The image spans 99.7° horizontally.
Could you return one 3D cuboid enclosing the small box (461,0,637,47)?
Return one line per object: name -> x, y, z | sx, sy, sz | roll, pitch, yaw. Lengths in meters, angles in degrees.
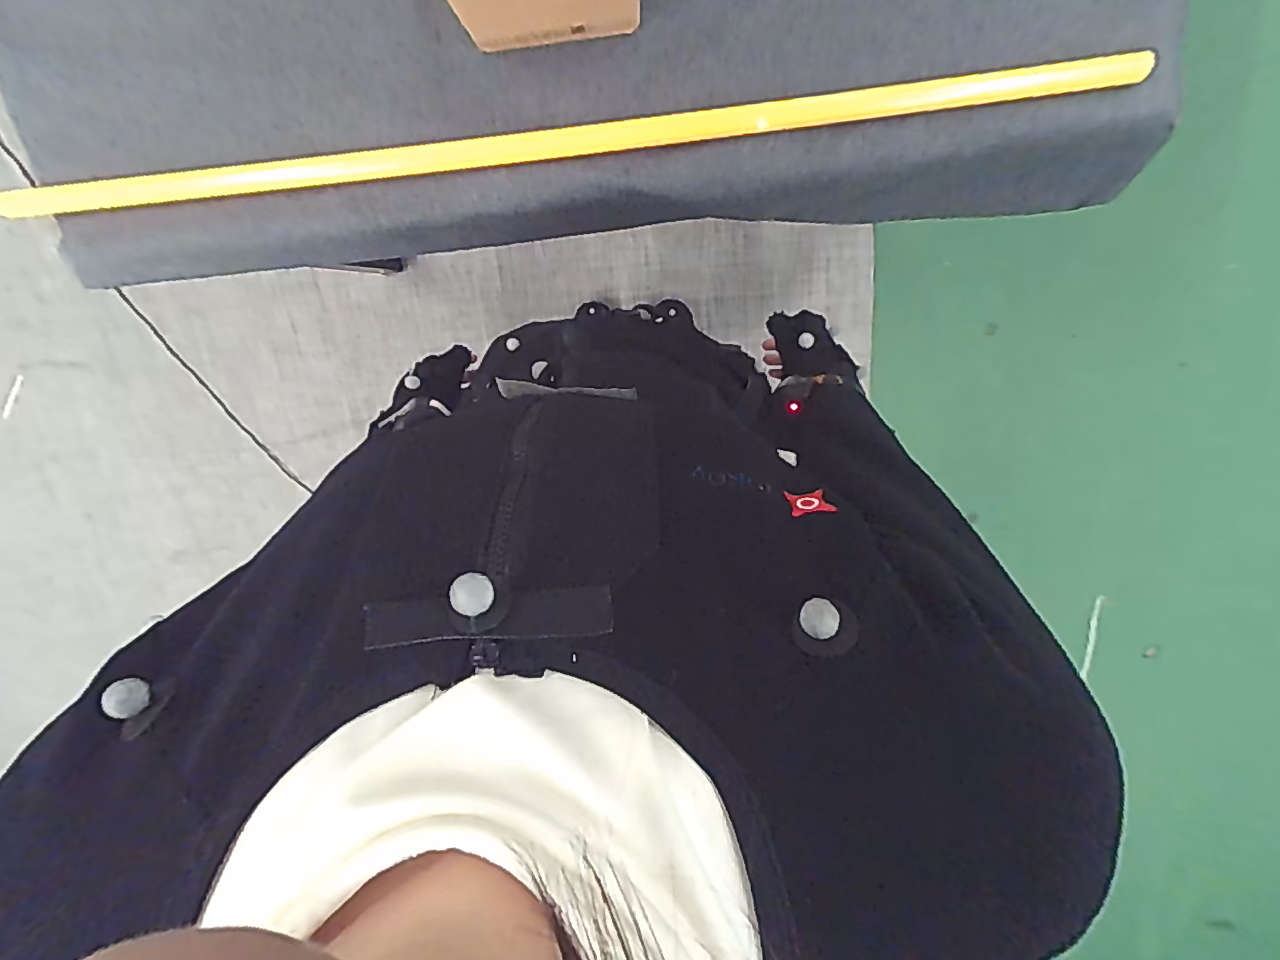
small box -> -0.093, -0.509, 0.450 | 0.168, 0.176, 0.179 | -5, 107, 4
